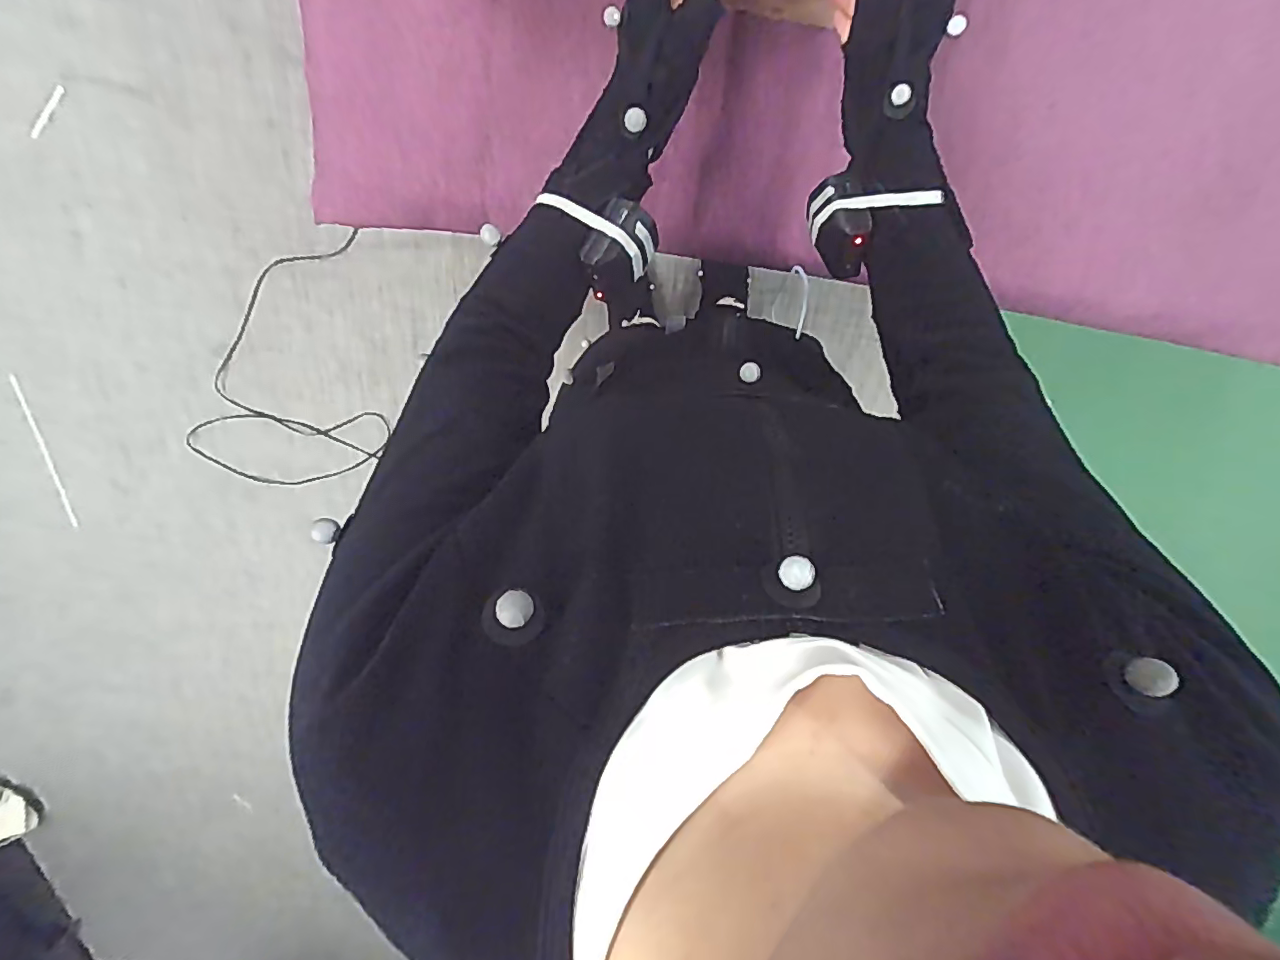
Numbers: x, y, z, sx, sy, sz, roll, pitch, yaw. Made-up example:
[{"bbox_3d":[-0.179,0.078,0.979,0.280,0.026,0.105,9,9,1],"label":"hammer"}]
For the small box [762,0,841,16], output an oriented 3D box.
[{"bbox_3d":[0.122,-0.507,0.422,0.168,0.176,0.179,9,115,-4],"label":"small box"}]
